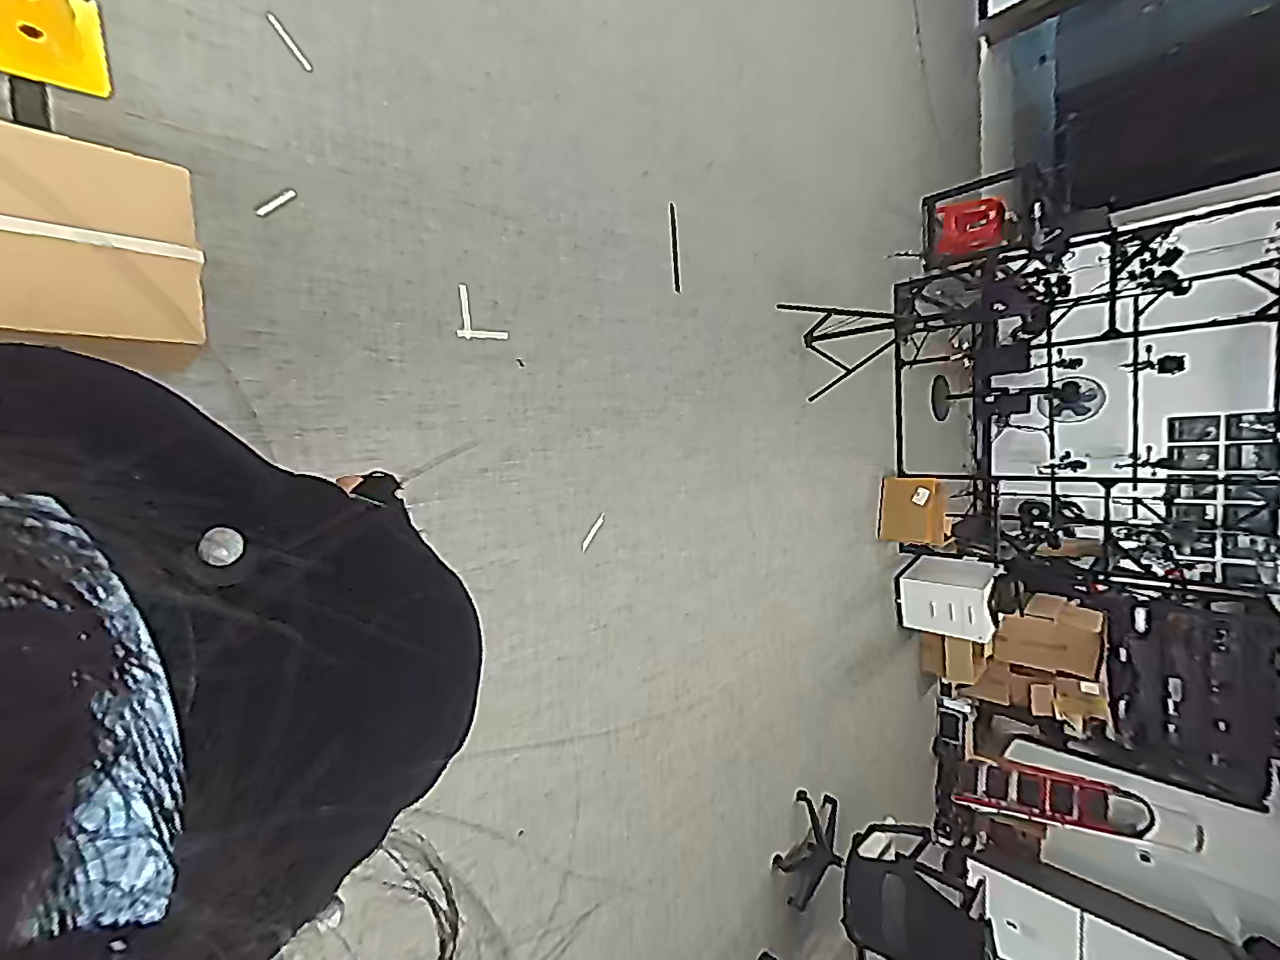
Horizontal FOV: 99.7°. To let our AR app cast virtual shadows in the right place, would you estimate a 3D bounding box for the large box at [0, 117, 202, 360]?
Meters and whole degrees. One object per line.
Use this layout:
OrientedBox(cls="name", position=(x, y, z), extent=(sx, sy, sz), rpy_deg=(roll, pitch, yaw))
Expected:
OrientedBox(cls="large box", position=(-1.040, -0.392, 0.932), extent=(0.408, 0.320, 0.320), rpy_deg=(-6, 93, -44))
